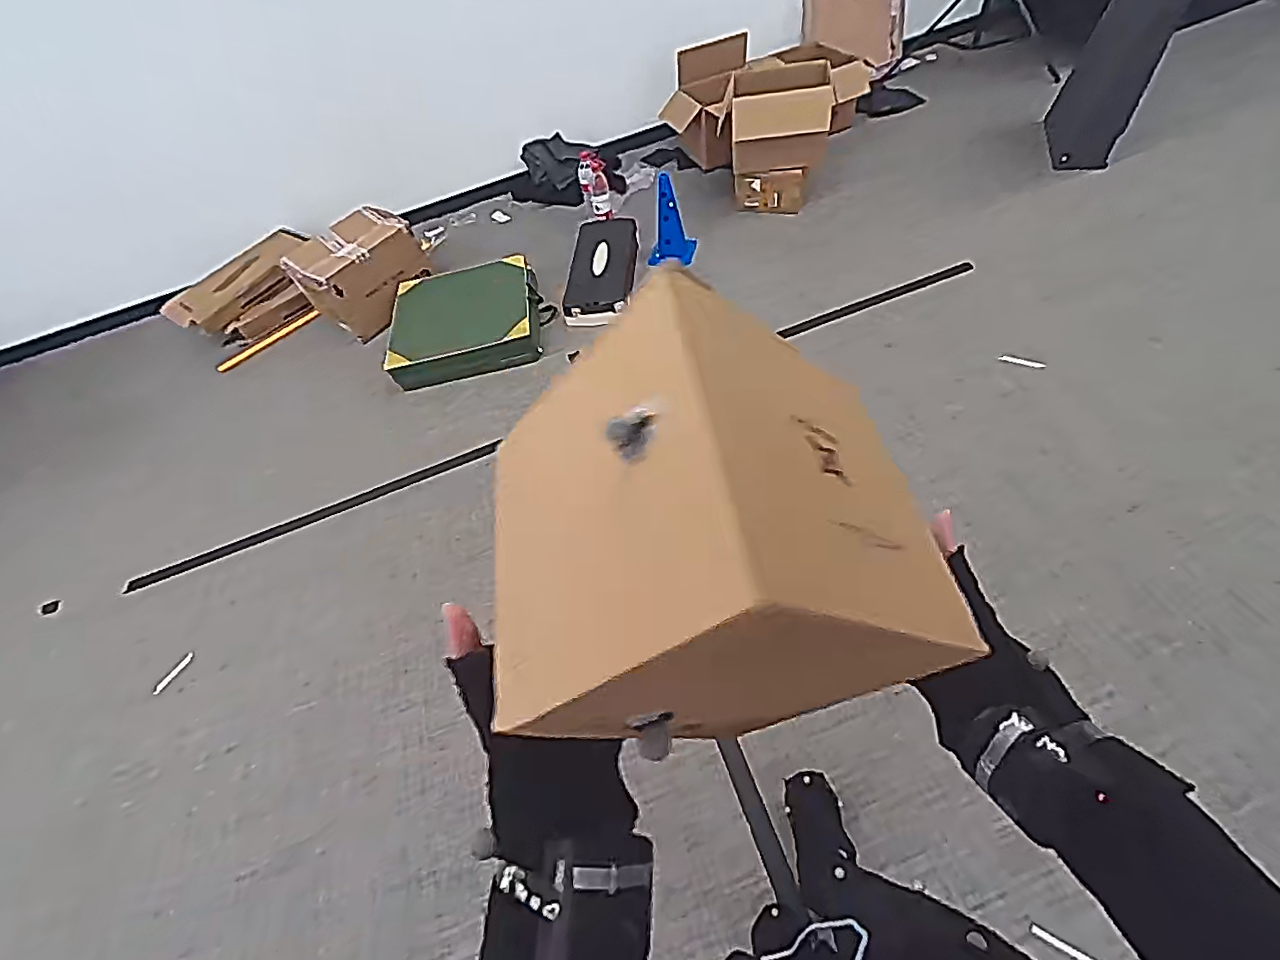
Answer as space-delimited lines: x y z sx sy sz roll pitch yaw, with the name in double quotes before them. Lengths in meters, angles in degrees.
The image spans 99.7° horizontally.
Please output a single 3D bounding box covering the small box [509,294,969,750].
"small box" 0.037 0.039 0.313 0.176 0.168 0.179 -39 45 34
